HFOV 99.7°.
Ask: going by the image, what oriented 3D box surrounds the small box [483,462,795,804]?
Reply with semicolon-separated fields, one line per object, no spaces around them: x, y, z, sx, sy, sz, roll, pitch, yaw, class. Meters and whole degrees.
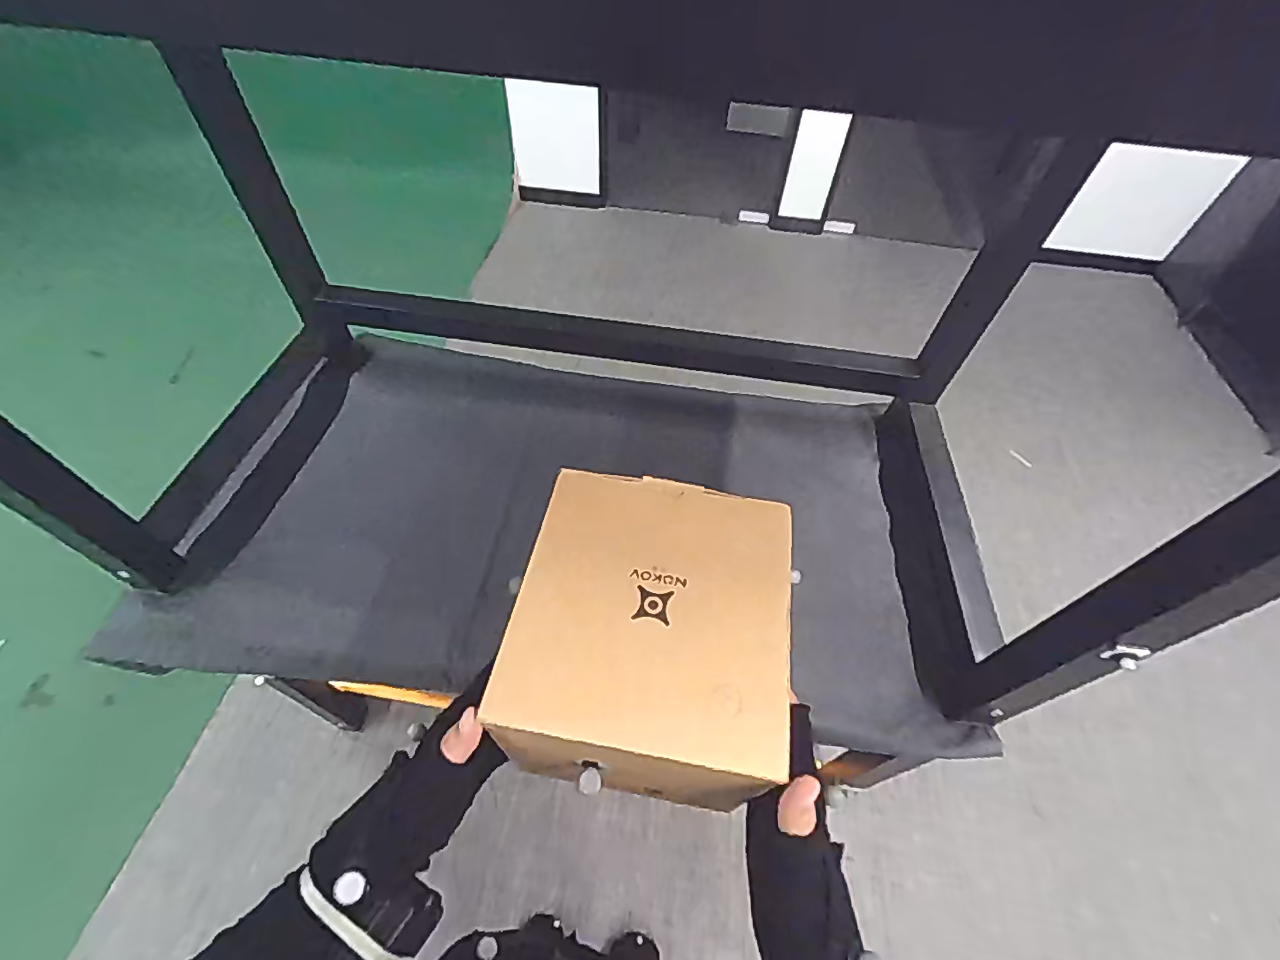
0.009;0.115;0.390;0.168;0.176;0.179;9;52;4;small box
